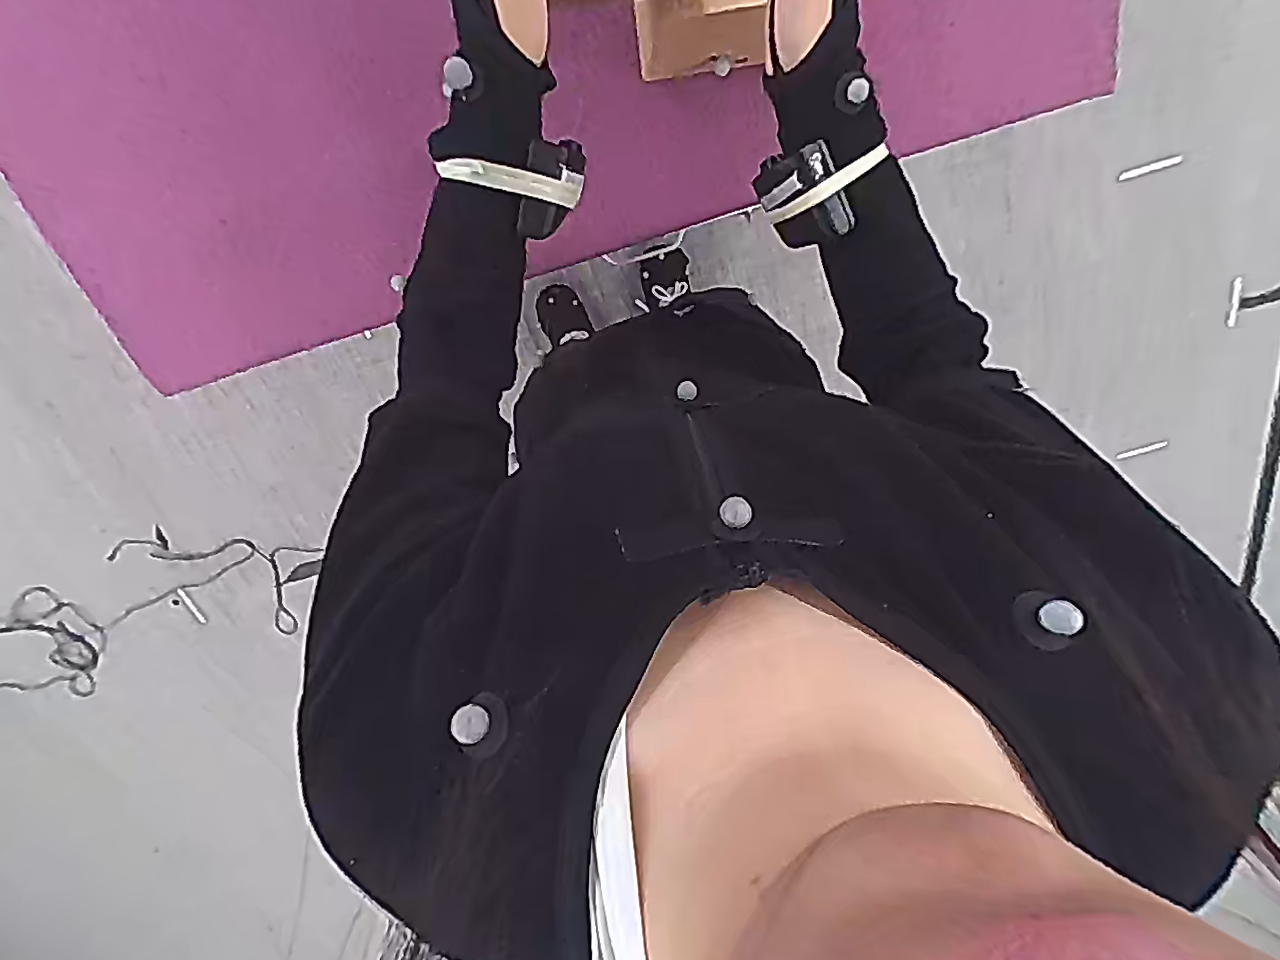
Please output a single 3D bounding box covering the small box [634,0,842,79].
[{"bbox_3d":[0.076,-0.496,0.483,0.168,0.176,0.179,-8,114,0],"label":"small box"}]
